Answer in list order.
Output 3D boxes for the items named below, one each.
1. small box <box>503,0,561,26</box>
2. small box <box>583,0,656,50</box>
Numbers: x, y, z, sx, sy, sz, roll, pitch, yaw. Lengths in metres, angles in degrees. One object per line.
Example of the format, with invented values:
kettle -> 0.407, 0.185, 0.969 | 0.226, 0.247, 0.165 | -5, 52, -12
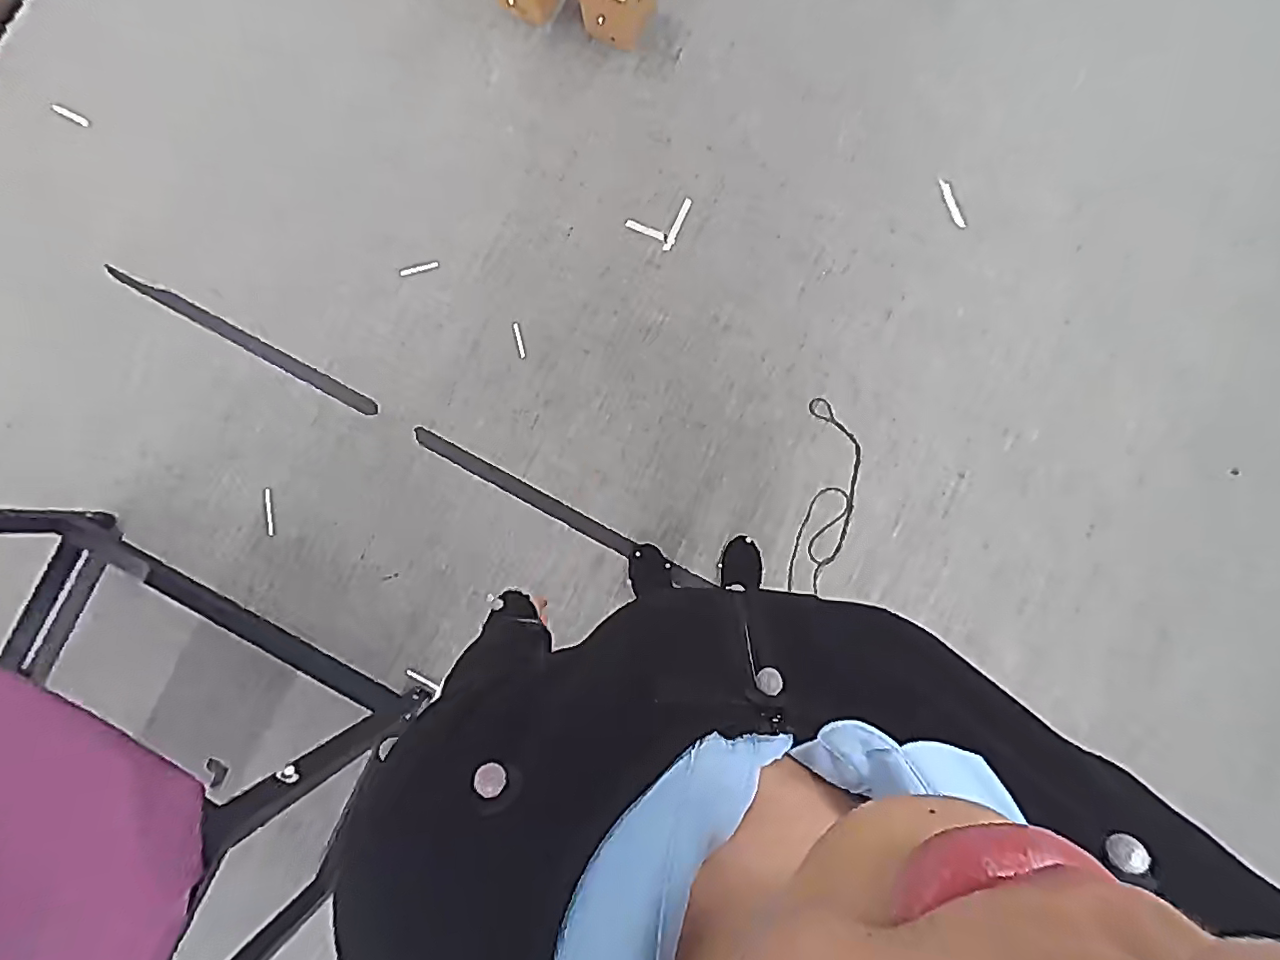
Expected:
small box -> -0.335, -1.557, 1.647 | 0.168, 0.176, 0.179 | 29, 87, 7
small box -> -0.059, -1.446, 1.610 | 0.168, 0.176, 0.179 | 30, 87, 6
